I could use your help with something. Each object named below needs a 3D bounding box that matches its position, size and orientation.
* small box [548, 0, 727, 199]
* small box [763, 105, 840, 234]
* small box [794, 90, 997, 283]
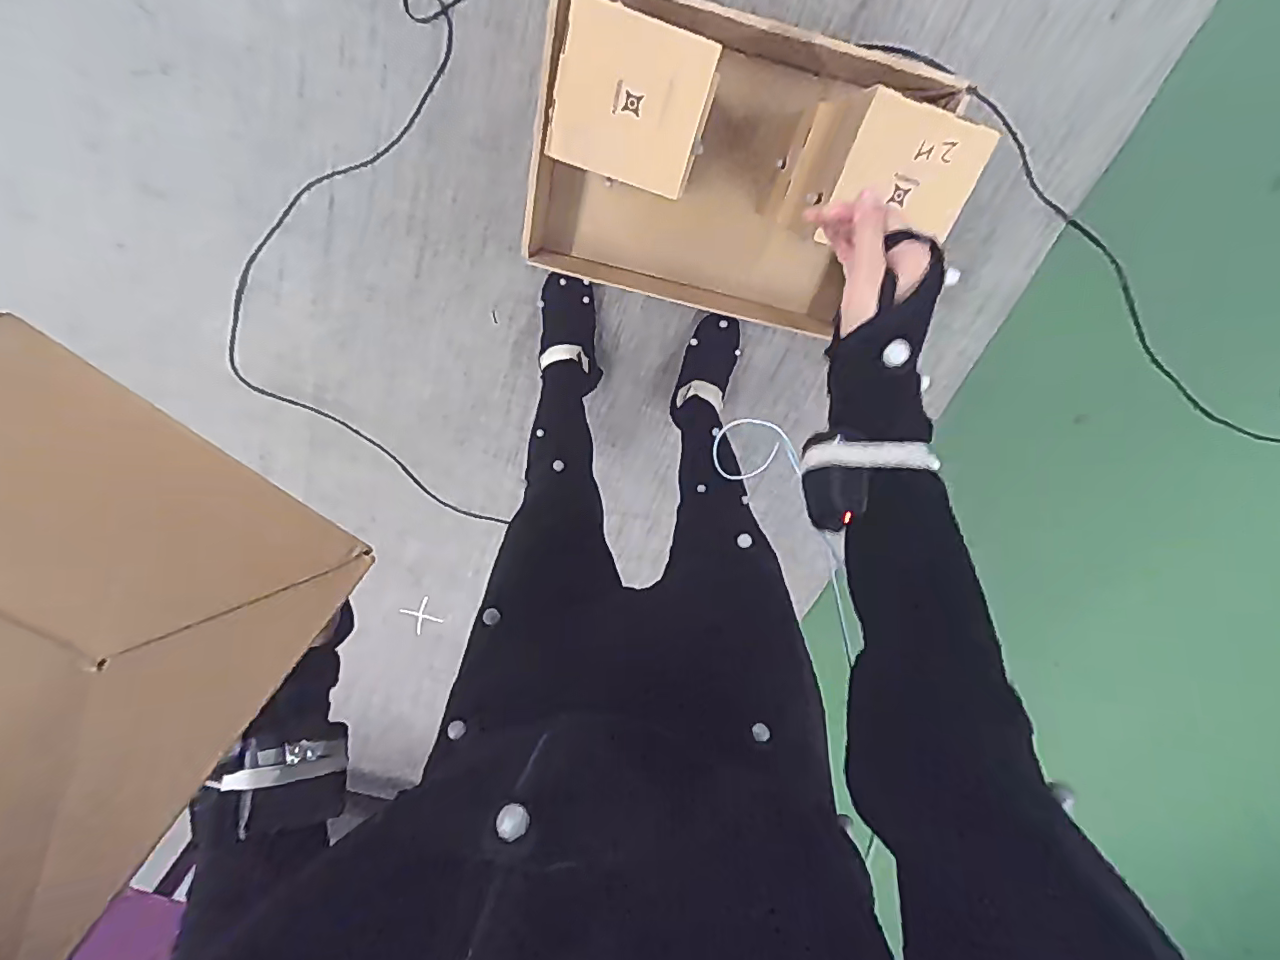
[{"bbox_3d":[-0.005,-0.487,0.709,0.179,0.176,0.168,16,120,-8],"label":"small box"},{"bbox_3d":[0.321,-0.484,0.890,0.179,0.176,0.168,17,118,-7],"label":"small box"},{"bbox_3d":[0.331,-0.398,0.748,0.168,0.176,0.179,16,117,-8],"label":"small box"}]
